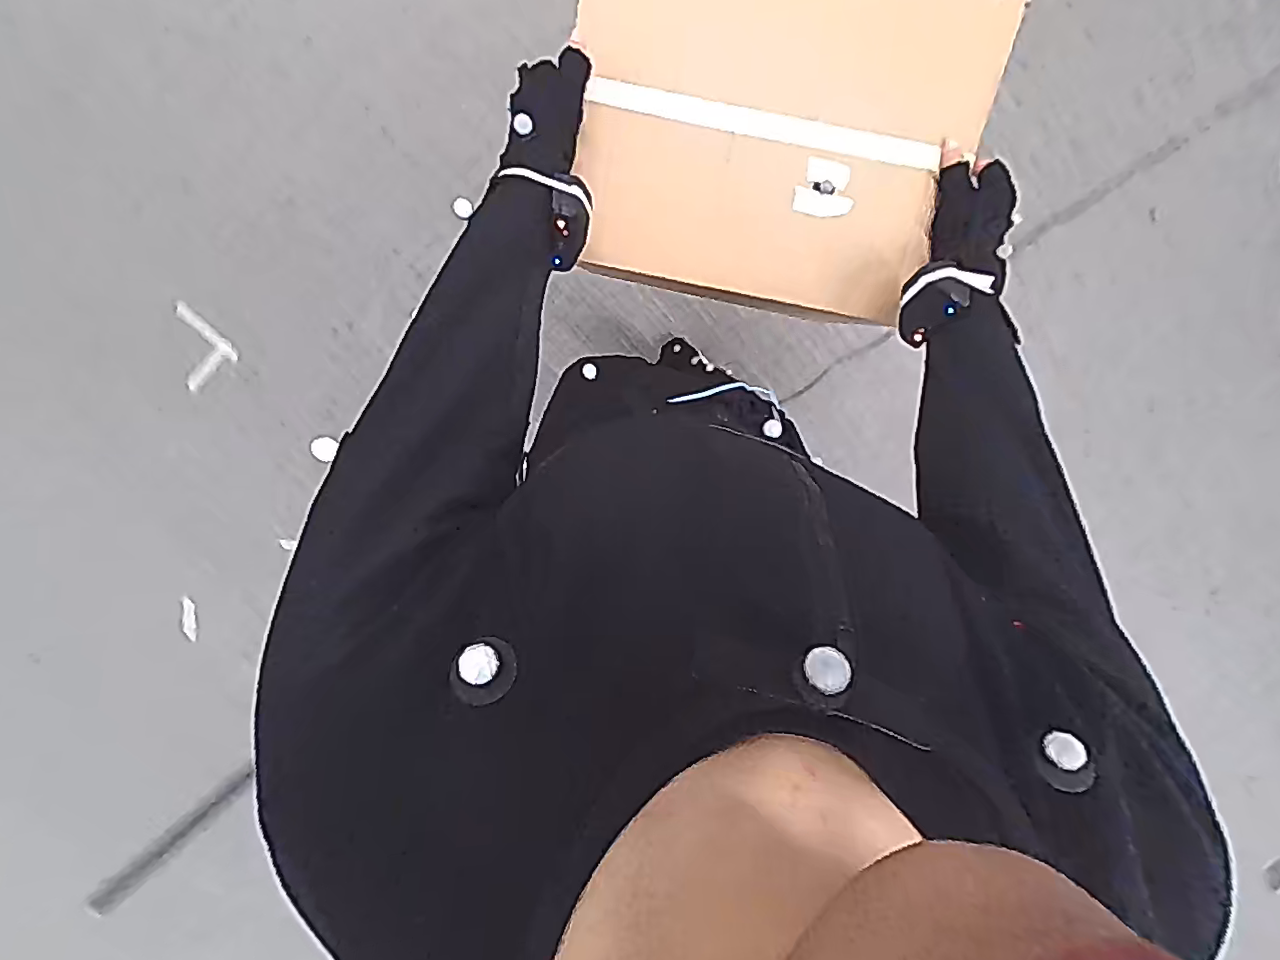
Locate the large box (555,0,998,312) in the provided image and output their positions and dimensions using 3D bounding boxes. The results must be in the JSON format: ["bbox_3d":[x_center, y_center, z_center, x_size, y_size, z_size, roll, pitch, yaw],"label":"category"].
[{"bbox_3d":[0.125,-0.404,0.692,0.408,0.320,0.320,10,109,-2],"label":"large box"}]
